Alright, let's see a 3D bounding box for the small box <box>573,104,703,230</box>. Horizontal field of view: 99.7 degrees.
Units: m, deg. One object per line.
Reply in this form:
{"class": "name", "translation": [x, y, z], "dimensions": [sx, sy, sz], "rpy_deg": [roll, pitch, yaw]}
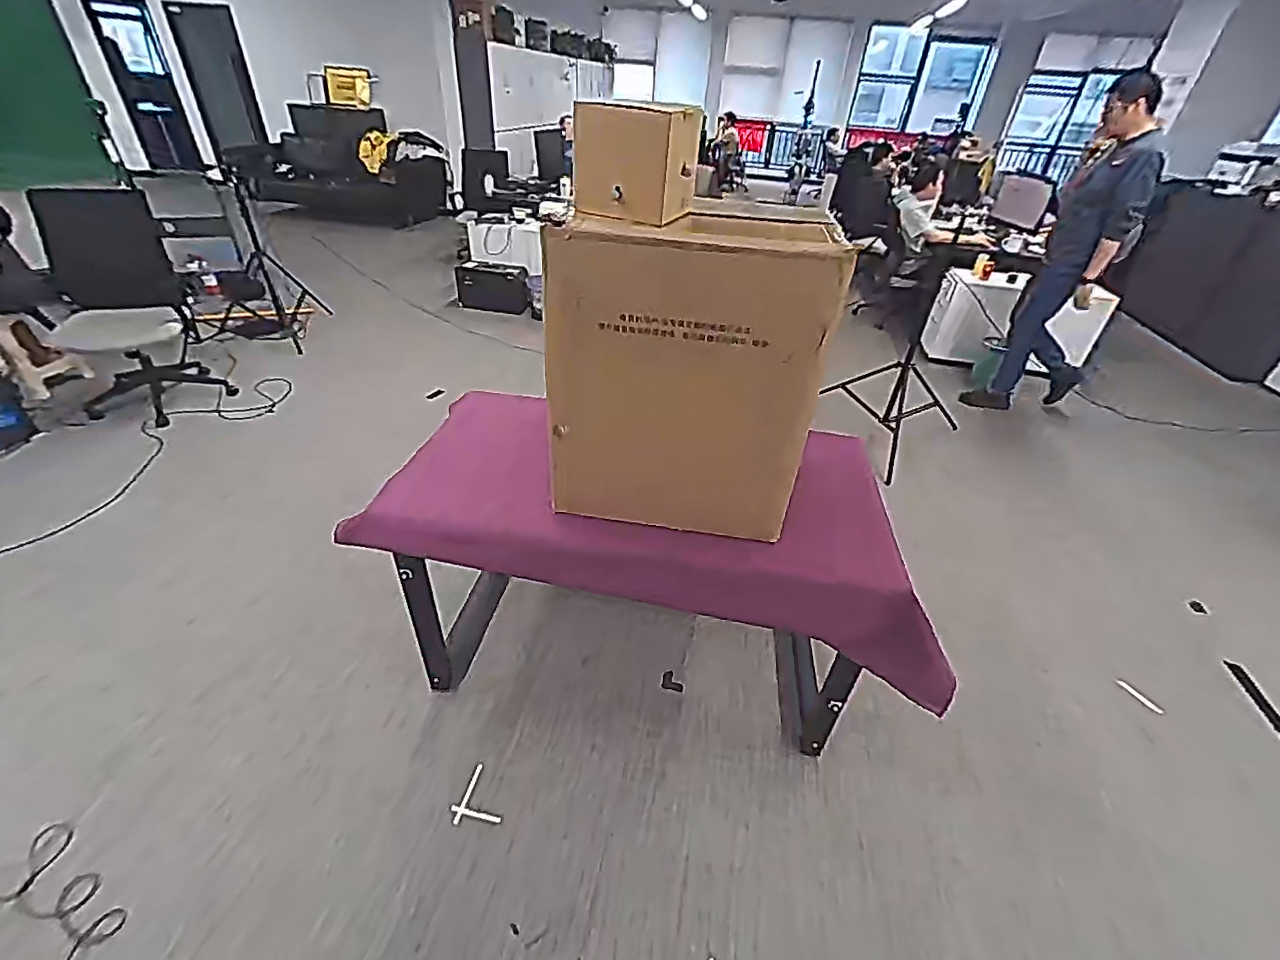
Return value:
{"class": "small box", "translation": [-0.006, -0.557, 0.964], "dimensions": [0.179, 0.176, 0.168], "rpy_deg": [18, 39, 16]}
